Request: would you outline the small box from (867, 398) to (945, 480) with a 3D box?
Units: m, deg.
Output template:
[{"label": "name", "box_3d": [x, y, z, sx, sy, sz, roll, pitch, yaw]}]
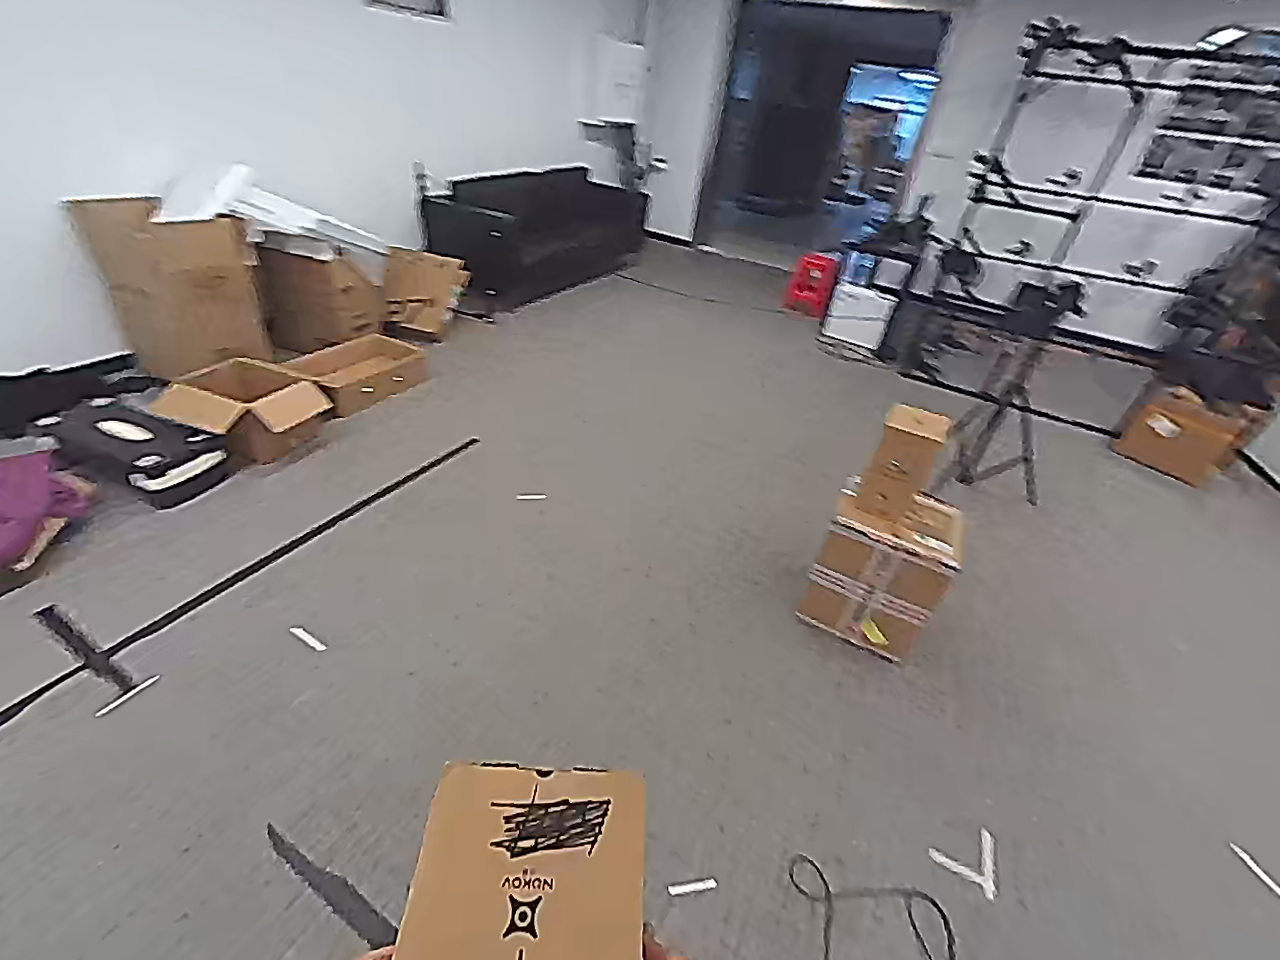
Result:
[{"label": "small box", "box_3d": [0.837, -0.130, 1.707, 0.168, 0.176, 0.179, 22, 41, 23]}]

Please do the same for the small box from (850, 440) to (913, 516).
[{"label": "small box", "box_3d": [0.821, -0.007, 1.814, 0.168, 0.176, 0.179, 23, 41, 23]}]

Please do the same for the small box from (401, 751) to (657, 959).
[{"label": "small box", "box_3d": [-0.078, 0.343, 0.434, 0.168, 0.176, 0.179, 4, 46, -2]}]
